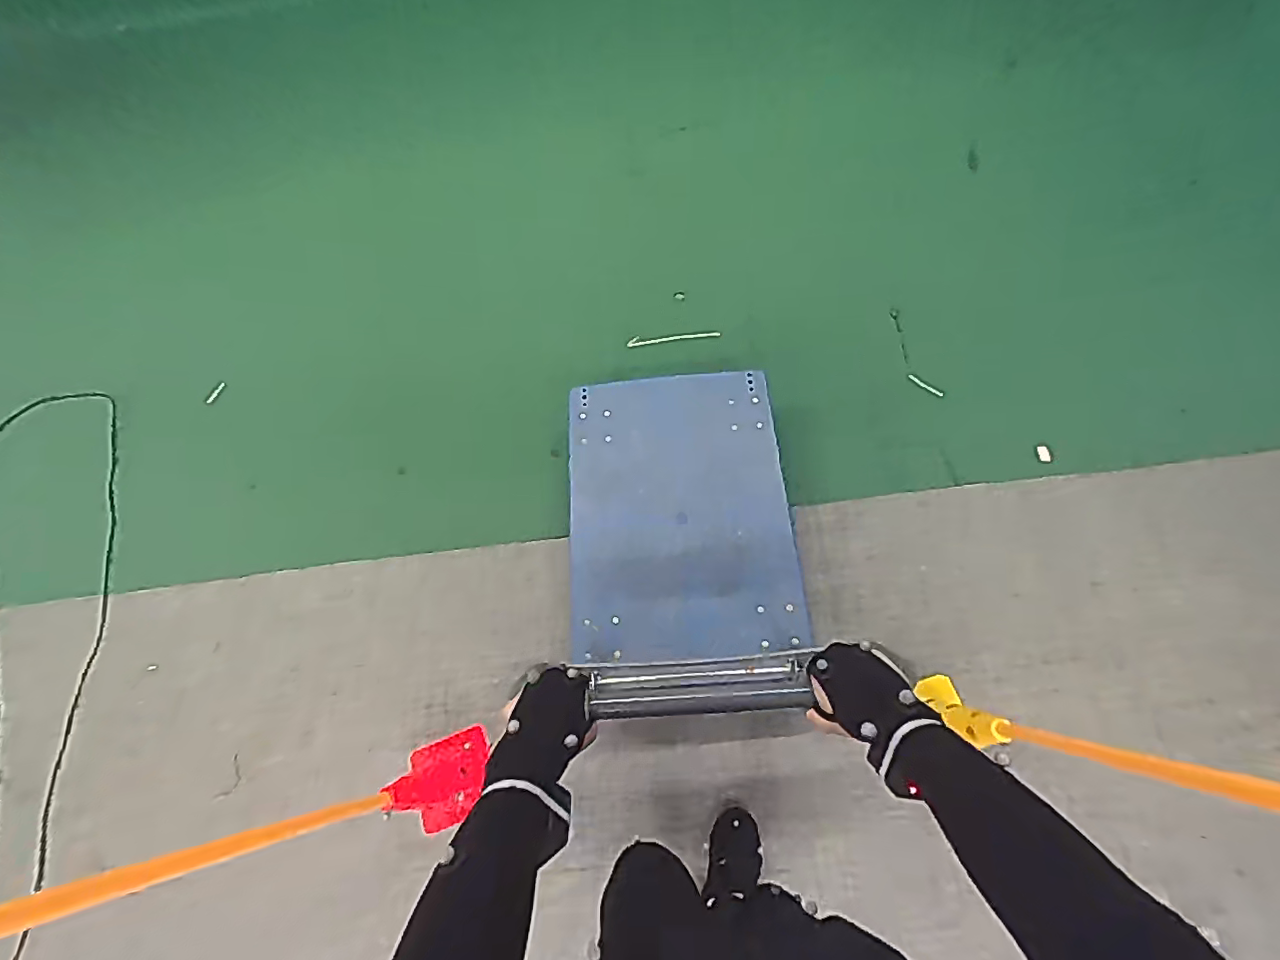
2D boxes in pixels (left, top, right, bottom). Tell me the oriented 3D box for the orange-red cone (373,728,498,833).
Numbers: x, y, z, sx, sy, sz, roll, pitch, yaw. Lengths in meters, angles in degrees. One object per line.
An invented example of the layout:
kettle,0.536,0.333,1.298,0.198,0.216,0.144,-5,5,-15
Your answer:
orange-red cone,-0.483,0.688,1.203,0.199,0.360,0.198,-21,67,-3

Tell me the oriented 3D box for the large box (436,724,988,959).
large box,0.050,0.349,0.105,0.408,0.320,0.320,30,104,6
